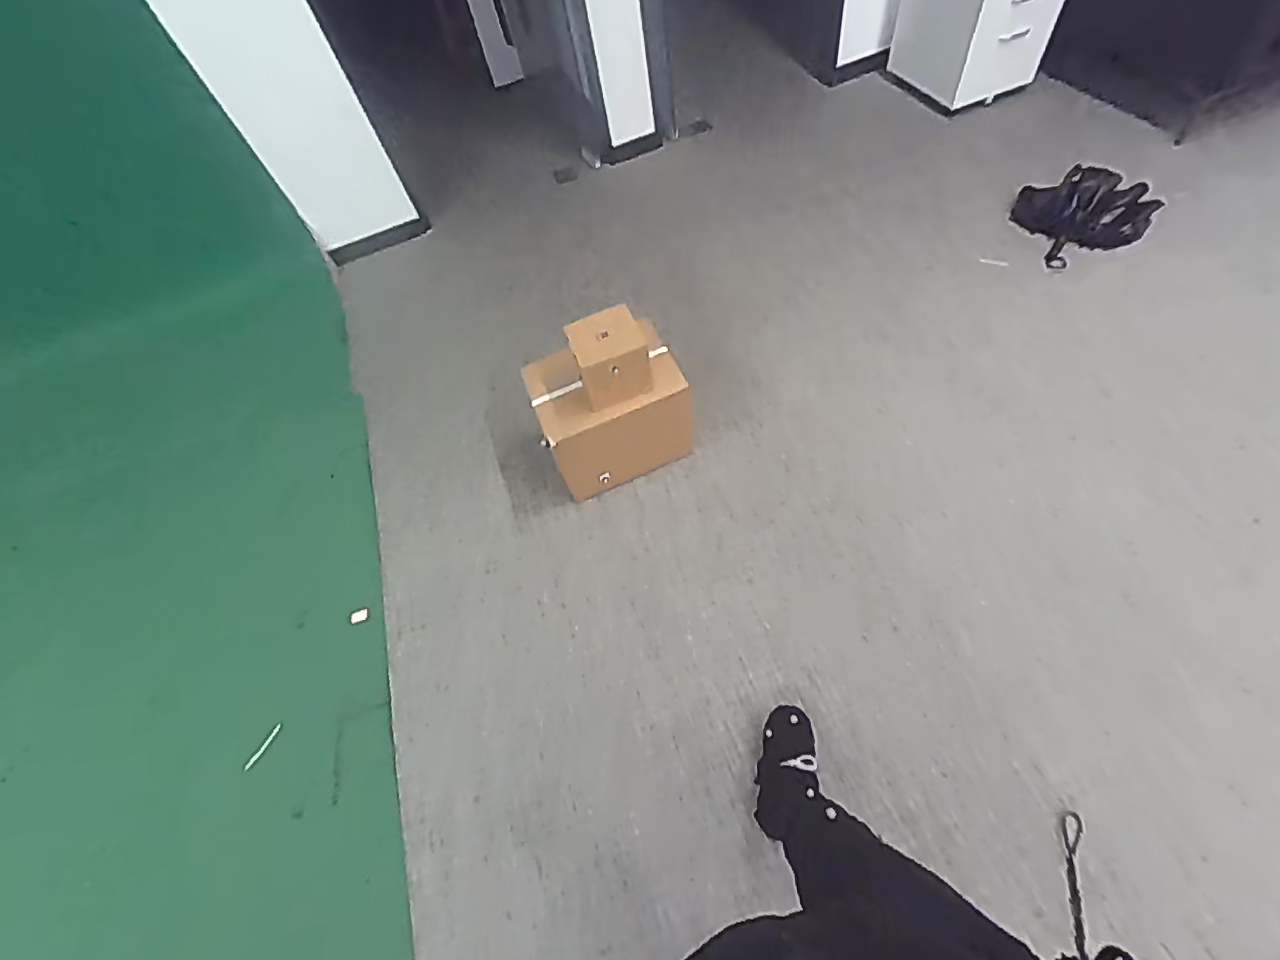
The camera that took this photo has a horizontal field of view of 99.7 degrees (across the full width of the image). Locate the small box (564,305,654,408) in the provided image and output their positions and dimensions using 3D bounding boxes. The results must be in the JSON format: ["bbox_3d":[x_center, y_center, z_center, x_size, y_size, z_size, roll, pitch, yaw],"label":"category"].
[{"bbox_3d":[-0.077,-0.314,1.406,0.179,0.176,0.168,-21,59,-5],"label":"small box"}]
